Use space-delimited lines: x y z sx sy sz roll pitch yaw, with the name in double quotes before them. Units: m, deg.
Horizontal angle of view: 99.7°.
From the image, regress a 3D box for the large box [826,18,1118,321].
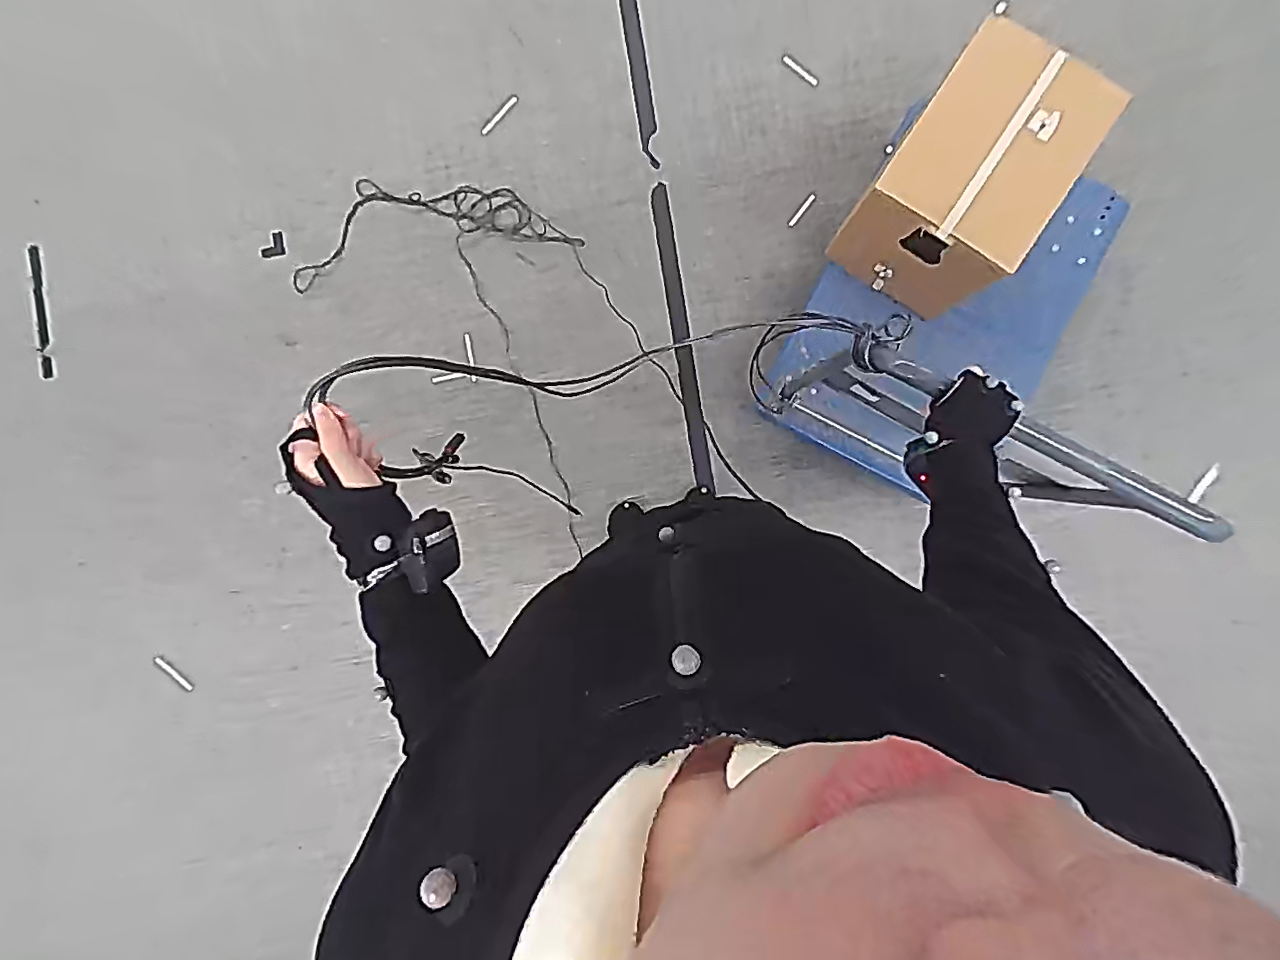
"large box" 0.675 -0.630 1.171 0.320 0.320 0.408 33 90 1
